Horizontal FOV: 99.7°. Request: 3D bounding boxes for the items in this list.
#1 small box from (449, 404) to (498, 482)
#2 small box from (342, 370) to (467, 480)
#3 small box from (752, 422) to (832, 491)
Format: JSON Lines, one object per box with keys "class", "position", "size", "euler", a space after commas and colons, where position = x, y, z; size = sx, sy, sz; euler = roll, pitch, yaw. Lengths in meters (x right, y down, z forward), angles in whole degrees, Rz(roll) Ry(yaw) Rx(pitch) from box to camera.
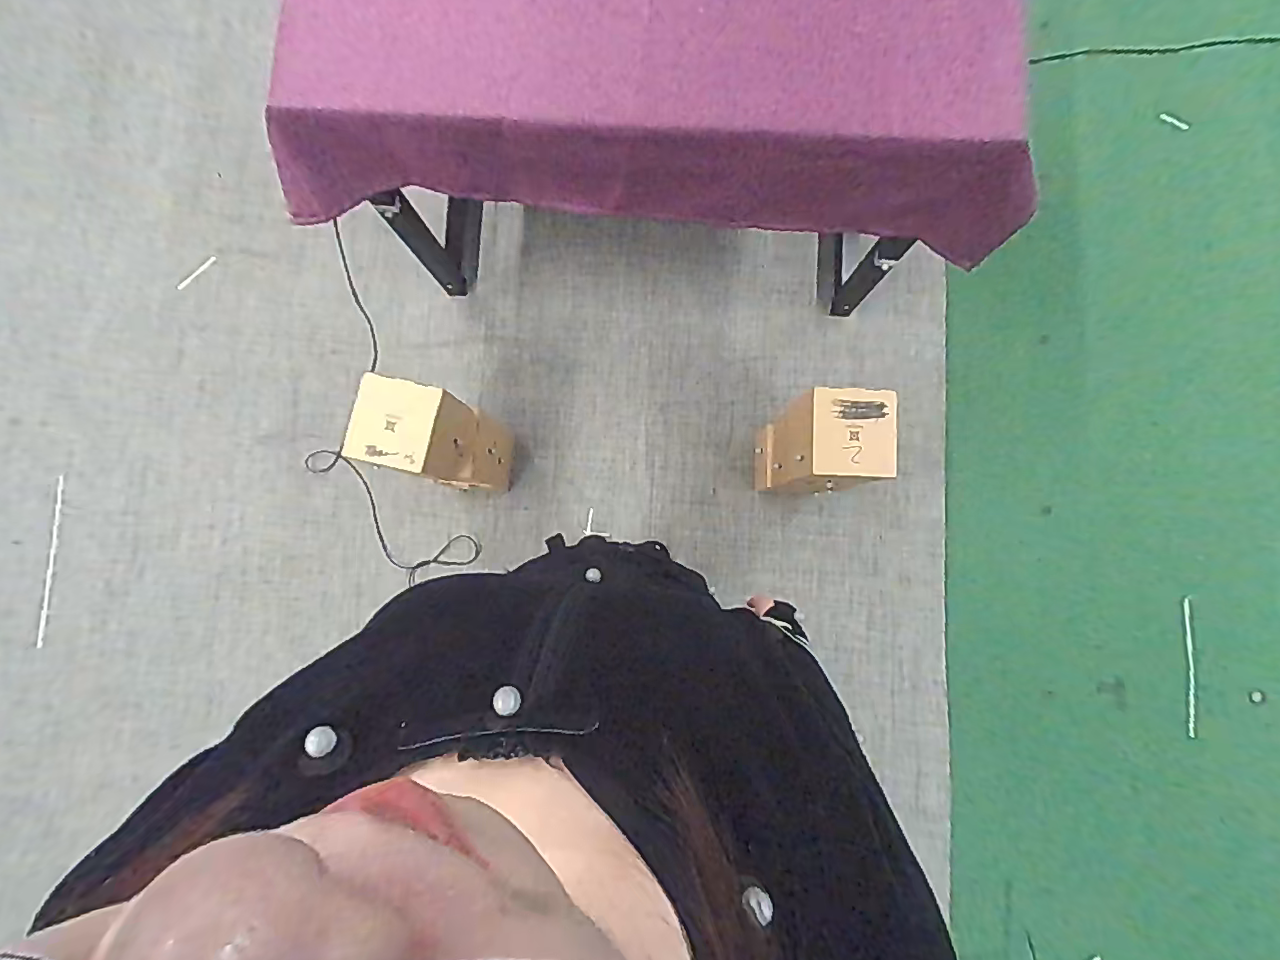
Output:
{"class": "small box", "position": [-0.459, -0.089, 1.302], "size": [0.179, 0.176, 0.168], "euler": [6, 85, 1]}
{"class": "small box", "position": [-0.482, -0.108, 1.138], "size": [0.168, 0.176, 0.179], "euler": [13, 84, 2]}
{"class": "small box", "position": [0.404, -0.059, 1.460], "size": [0.179, 0.176, 0.168], "euler": [2, 85, 0]}
